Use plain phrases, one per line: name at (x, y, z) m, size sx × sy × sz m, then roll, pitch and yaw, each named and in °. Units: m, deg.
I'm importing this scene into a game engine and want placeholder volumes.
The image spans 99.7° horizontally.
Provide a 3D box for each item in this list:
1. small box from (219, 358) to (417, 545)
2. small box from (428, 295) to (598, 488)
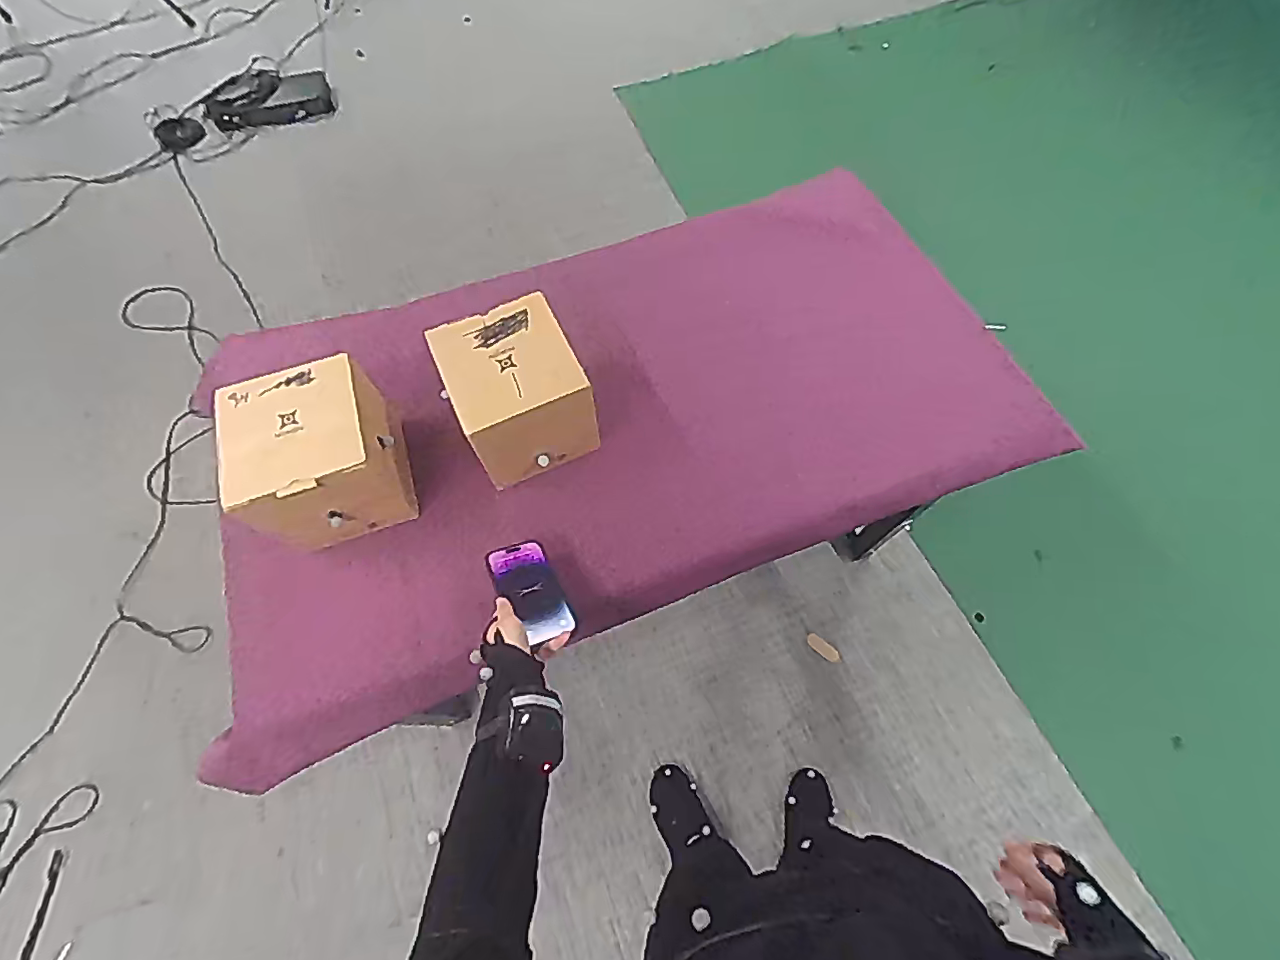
small box at (-0.420, -0.027, 0.726) m, size 0.168 × 0.176 × 0.179 m, roll -19°, pitch 66°, yaw -8°
small box at (-0.170, -0.118, 0.764) m, size 0.168 × 0.176 × 0.179 m, roll -24°, pitch 67°, yaw -9°
